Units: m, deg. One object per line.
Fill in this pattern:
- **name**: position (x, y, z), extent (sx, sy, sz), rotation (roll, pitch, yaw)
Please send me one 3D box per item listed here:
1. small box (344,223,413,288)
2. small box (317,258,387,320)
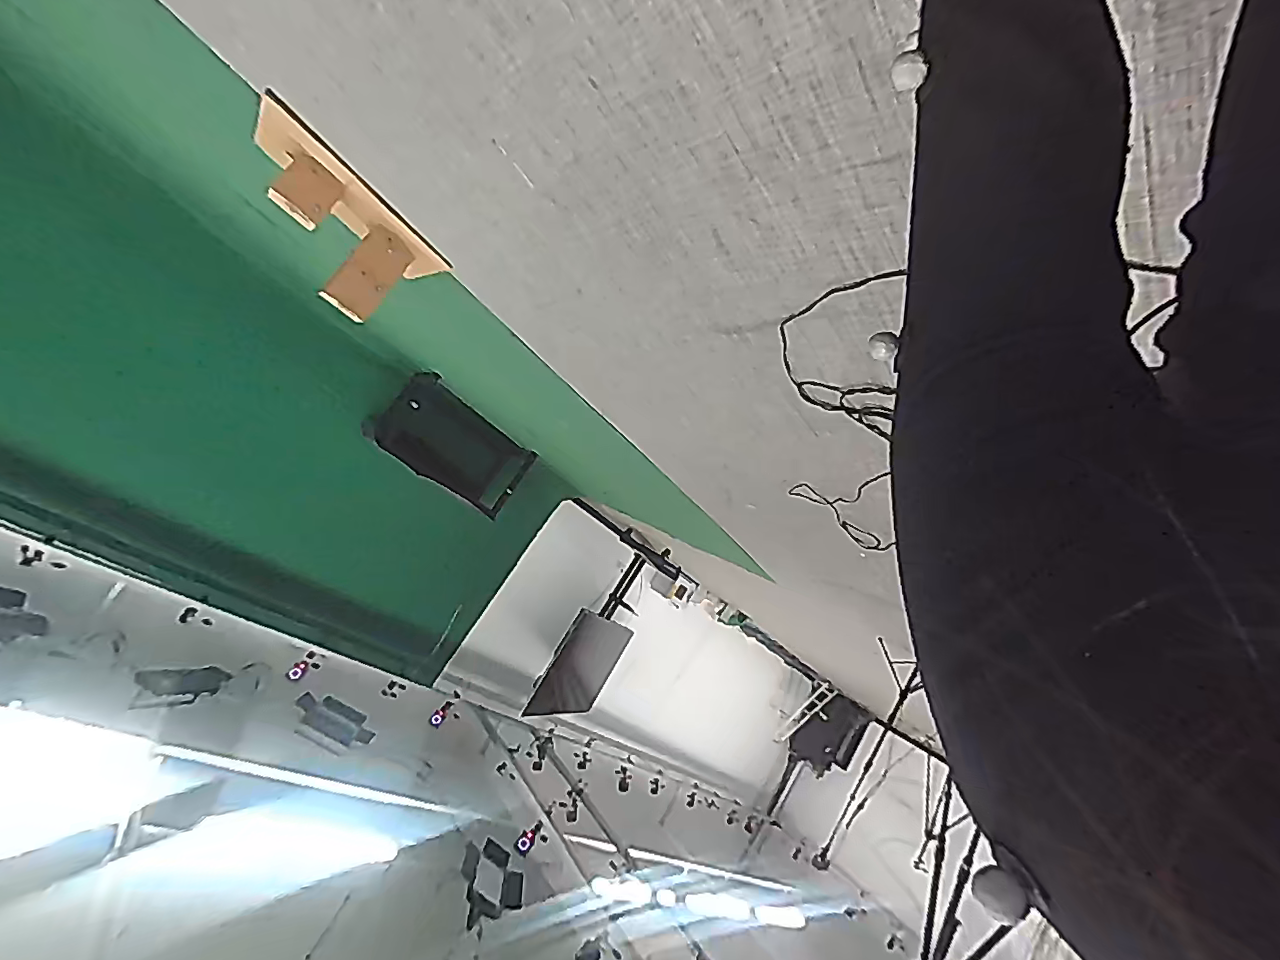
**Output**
- **small box**: position (-1.029, -0.880, 2.132), extent (0.168, 0.176, 0.179), rotation (40, 167, -37)
- **small box**: position (-1.117, -0.744, 2.105), extent (0.179, 0.176, 0.168), rotation (22, 165, 50)
